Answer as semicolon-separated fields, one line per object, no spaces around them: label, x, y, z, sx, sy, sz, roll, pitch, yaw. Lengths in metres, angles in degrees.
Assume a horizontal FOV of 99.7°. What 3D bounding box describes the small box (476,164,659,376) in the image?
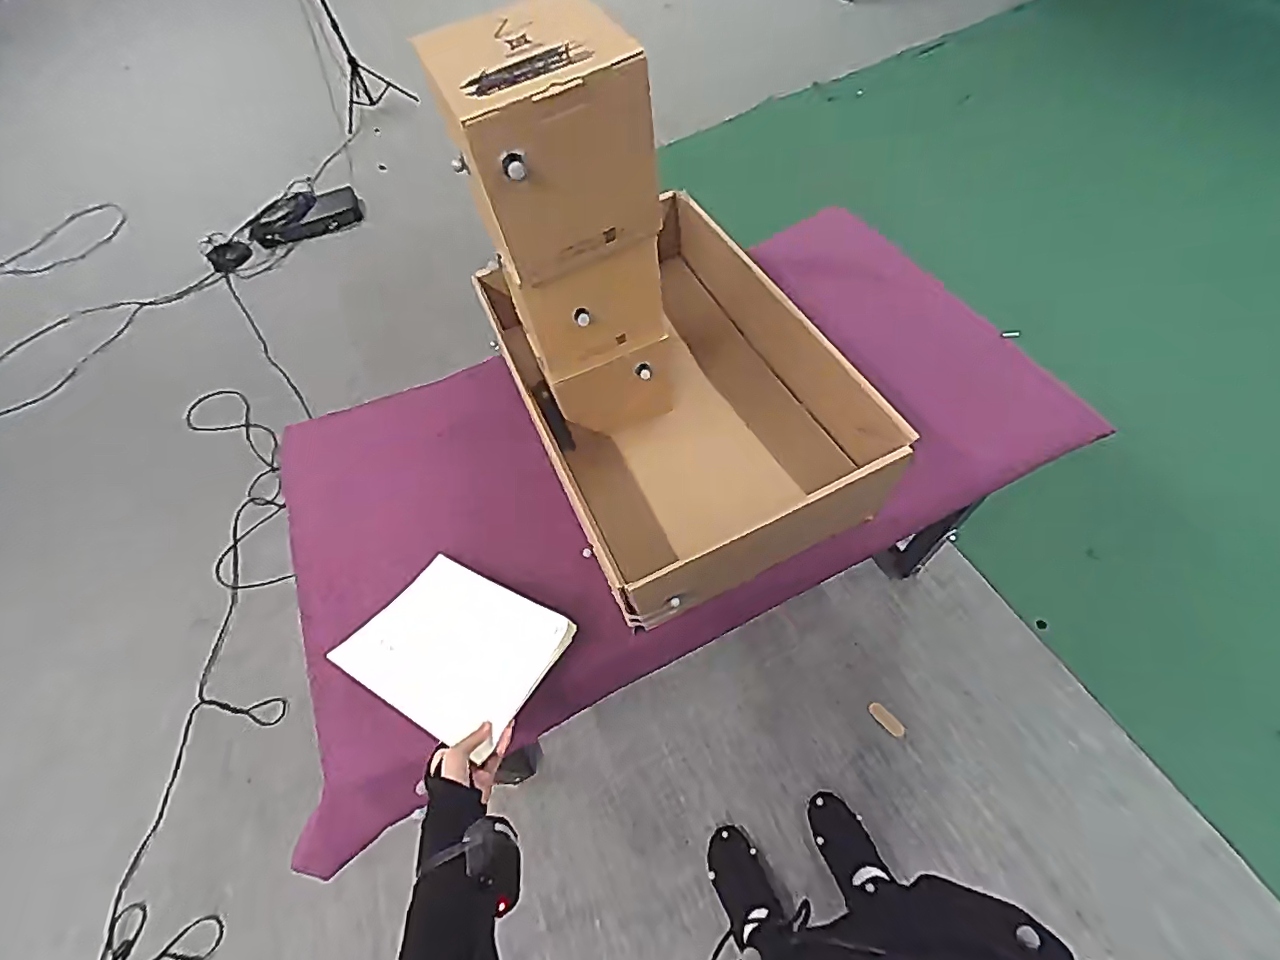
small box;-0.085;-0.258;0.696;0.168;0.176;0.179;-24;60;-7
